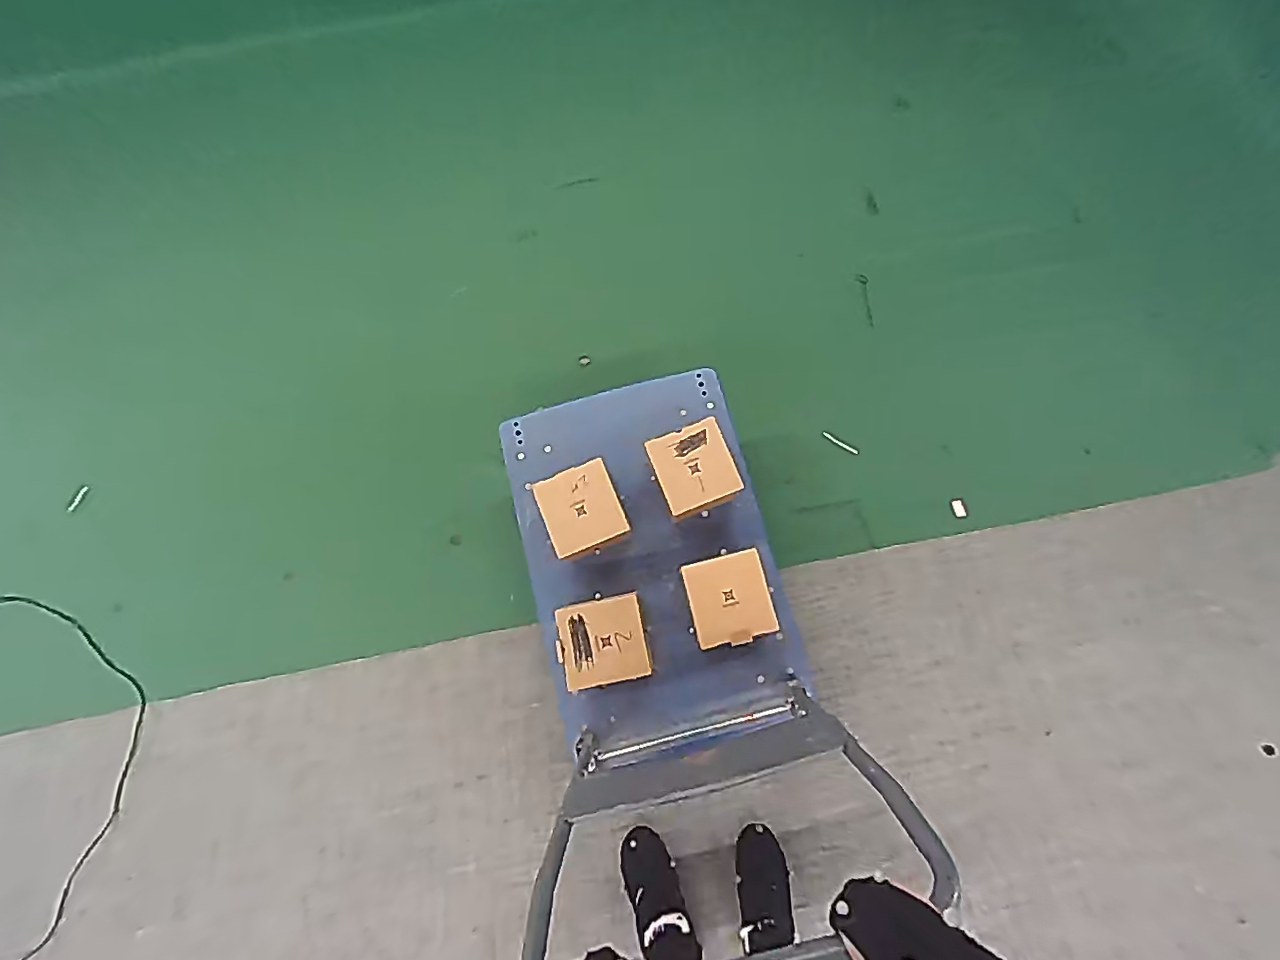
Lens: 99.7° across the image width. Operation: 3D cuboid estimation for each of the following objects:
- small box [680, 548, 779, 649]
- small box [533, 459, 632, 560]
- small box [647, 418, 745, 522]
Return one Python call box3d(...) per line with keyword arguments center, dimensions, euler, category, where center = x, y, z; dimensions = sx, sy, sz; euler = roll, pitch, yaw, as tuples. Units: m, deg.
box3d(center=(0.188, 0.258, 1.192), dimensions=(0.168, 0.176, 0.179), euler=(-14, 80, 0), category="small box")
box3d(center=(-0.123, 0.074, 1.236), dimensions=(0.168, 0.176, 0.179), euler=(-22, 80, -3), category="small box")
box3d(center=(0.121, -0.016, 1.242), dimensions=(0.168, 0.176, 0.179), euler=(-21, 81, -1), category="small box")
